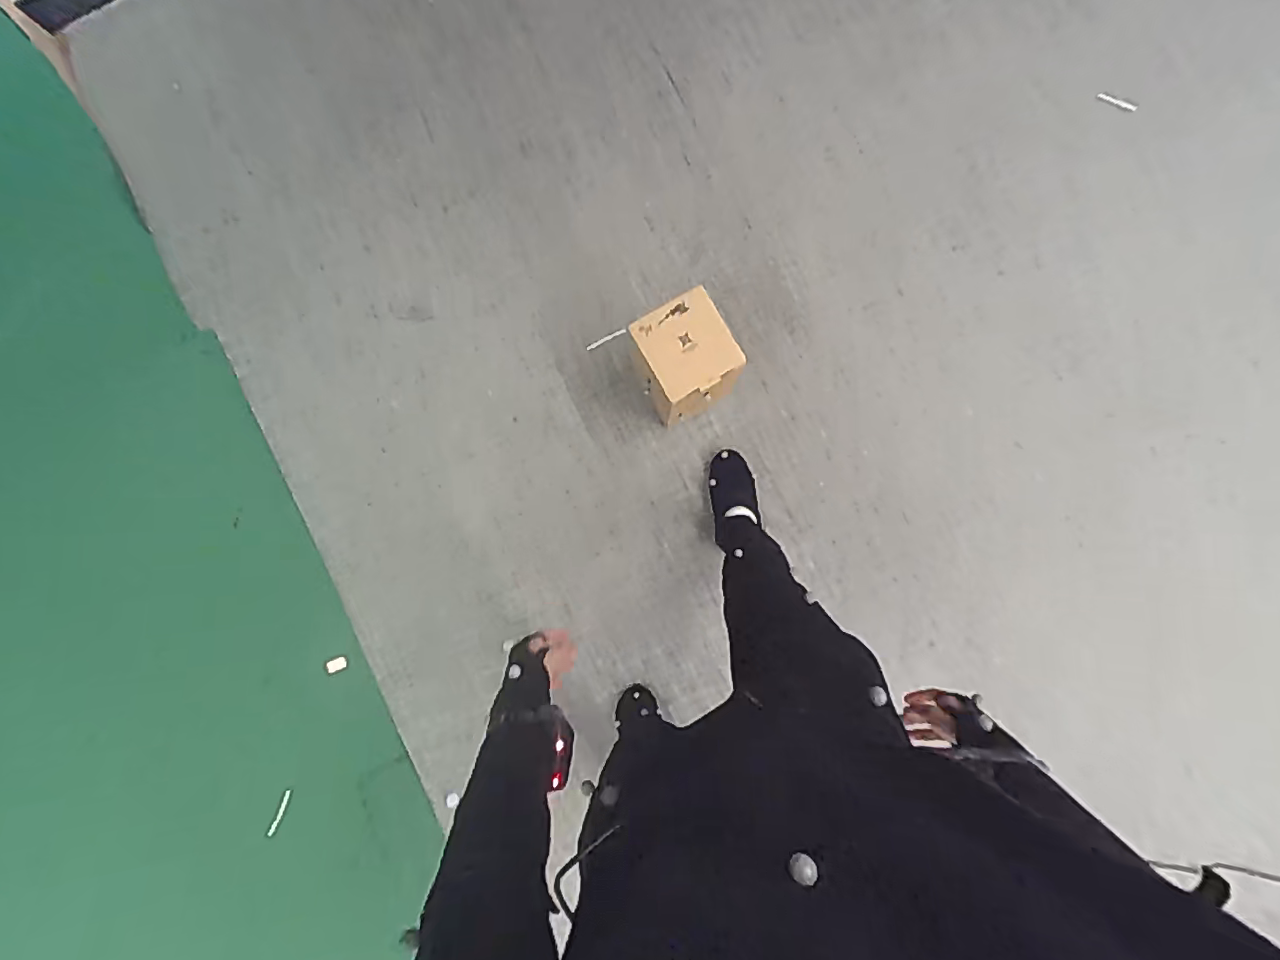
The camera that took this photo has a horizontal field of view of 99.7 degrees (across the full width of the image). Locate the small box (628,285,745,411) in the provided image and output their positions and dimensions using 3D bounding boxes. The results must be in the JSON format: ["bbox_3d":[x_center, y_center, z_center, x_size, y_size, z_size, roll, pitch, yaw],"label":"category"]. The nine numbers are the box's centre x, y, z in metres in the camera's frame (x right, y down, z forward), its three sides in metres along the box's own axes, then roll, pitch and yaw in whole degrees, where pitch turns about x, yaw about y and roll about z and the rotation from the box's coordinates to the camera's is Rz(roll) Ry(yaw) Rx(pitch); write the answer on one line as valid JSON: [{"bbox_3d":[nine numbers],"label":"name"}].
[{"bbox_3d":[0.090,-0.253,1.092,0.168,0.176,0.179,-29,87,0],"label":"small box"}]
